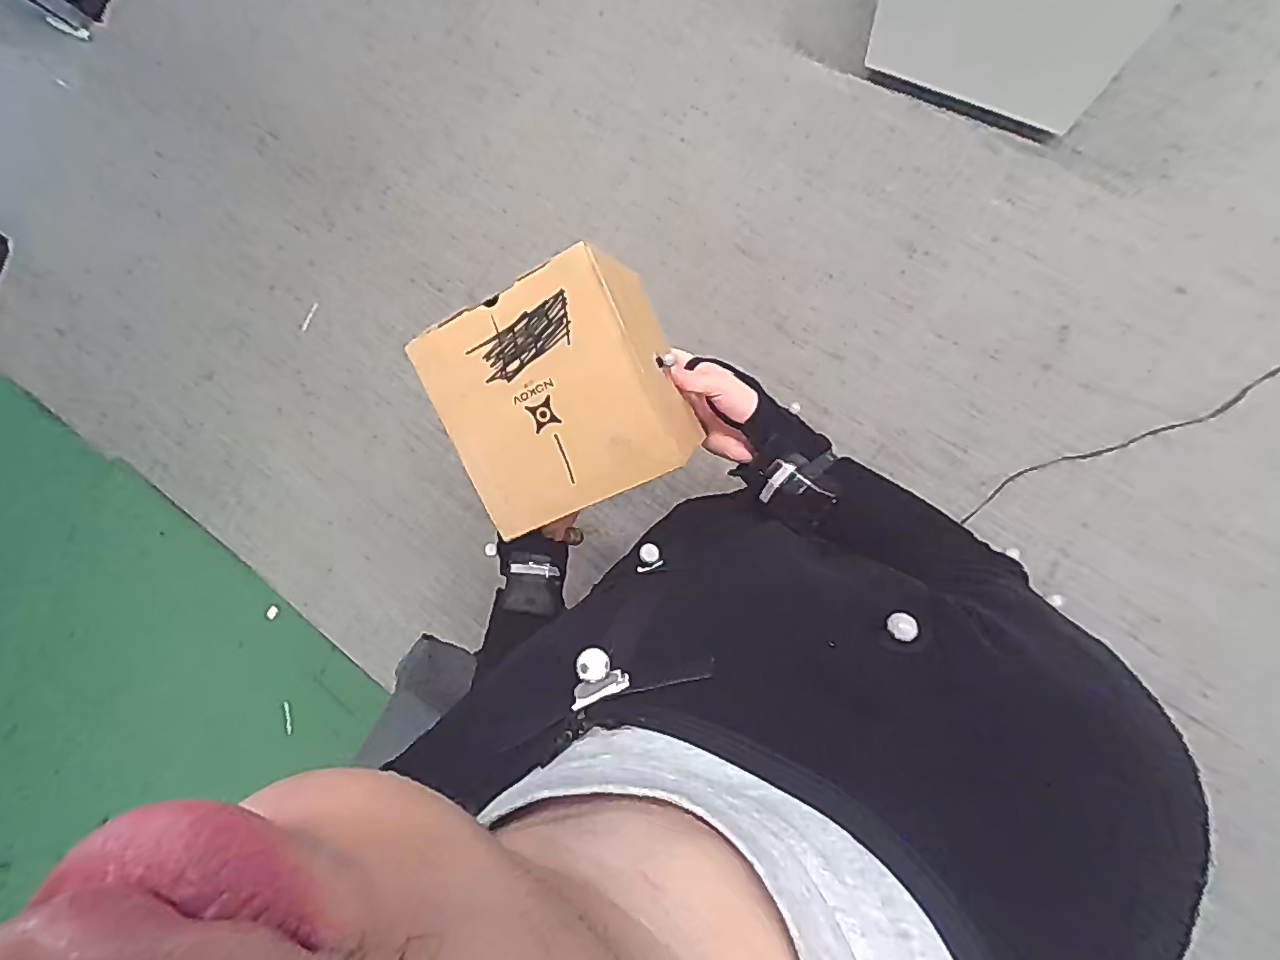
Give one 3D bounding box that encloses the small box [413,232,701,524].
[{"bbox_3d":[-0.057,-0.085,0.486,0.168,0.176,0.179,-22,97,17],"label":"small box"}]
